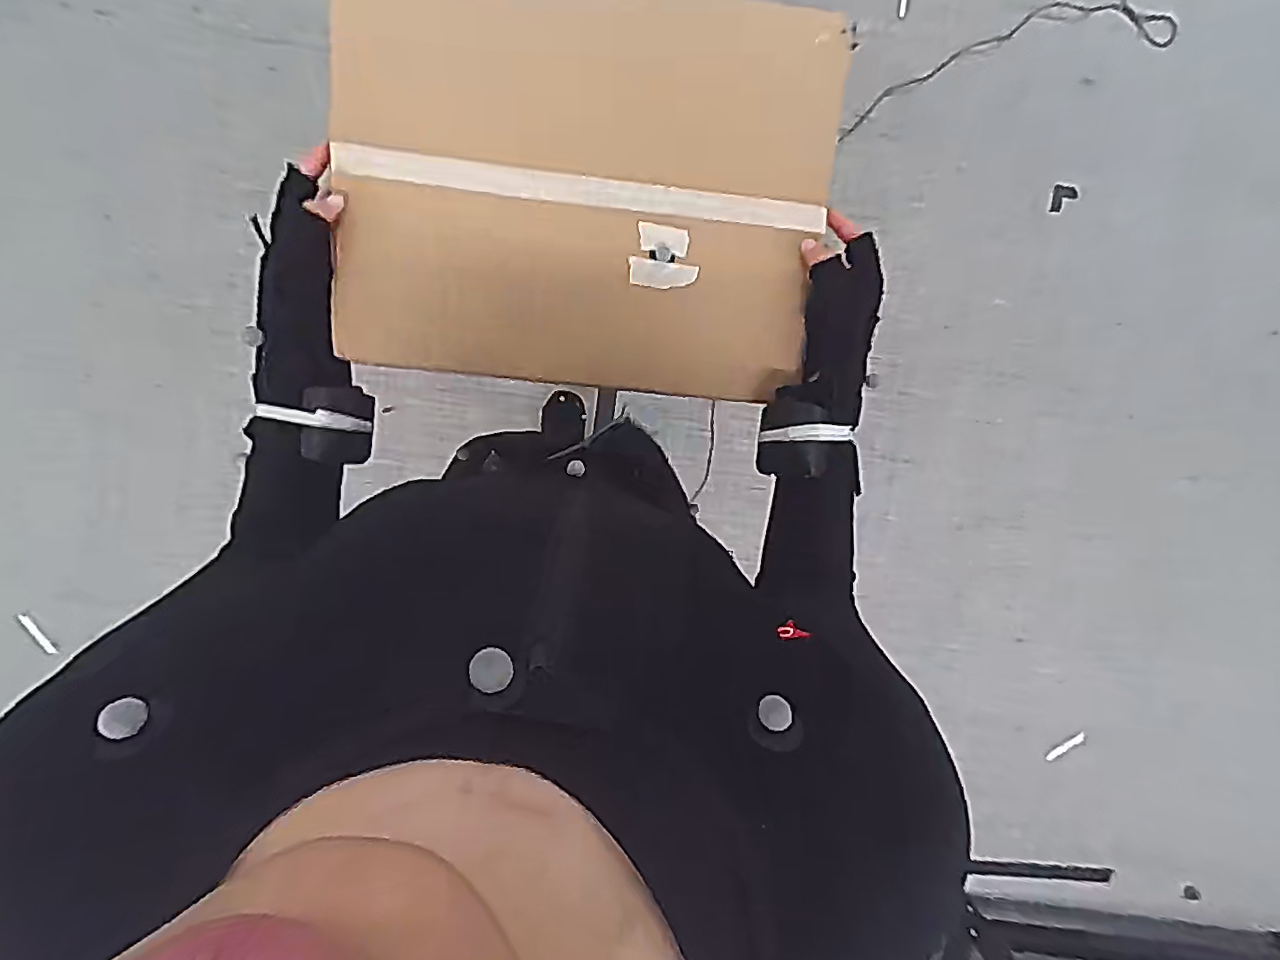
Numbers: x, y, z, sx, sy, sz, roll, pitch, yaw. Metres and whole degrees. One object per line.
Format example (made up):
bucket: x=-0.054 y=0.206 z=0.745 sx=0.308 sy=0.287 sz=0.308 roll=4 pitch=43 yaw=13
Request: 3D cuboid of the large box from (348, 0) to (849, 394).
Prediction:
large box: x=-0.052 y=-0.274 z=0.599 sx=0.408 sy=0.320 sz=0.320 roll=5 pitch=102 yaw=-6
